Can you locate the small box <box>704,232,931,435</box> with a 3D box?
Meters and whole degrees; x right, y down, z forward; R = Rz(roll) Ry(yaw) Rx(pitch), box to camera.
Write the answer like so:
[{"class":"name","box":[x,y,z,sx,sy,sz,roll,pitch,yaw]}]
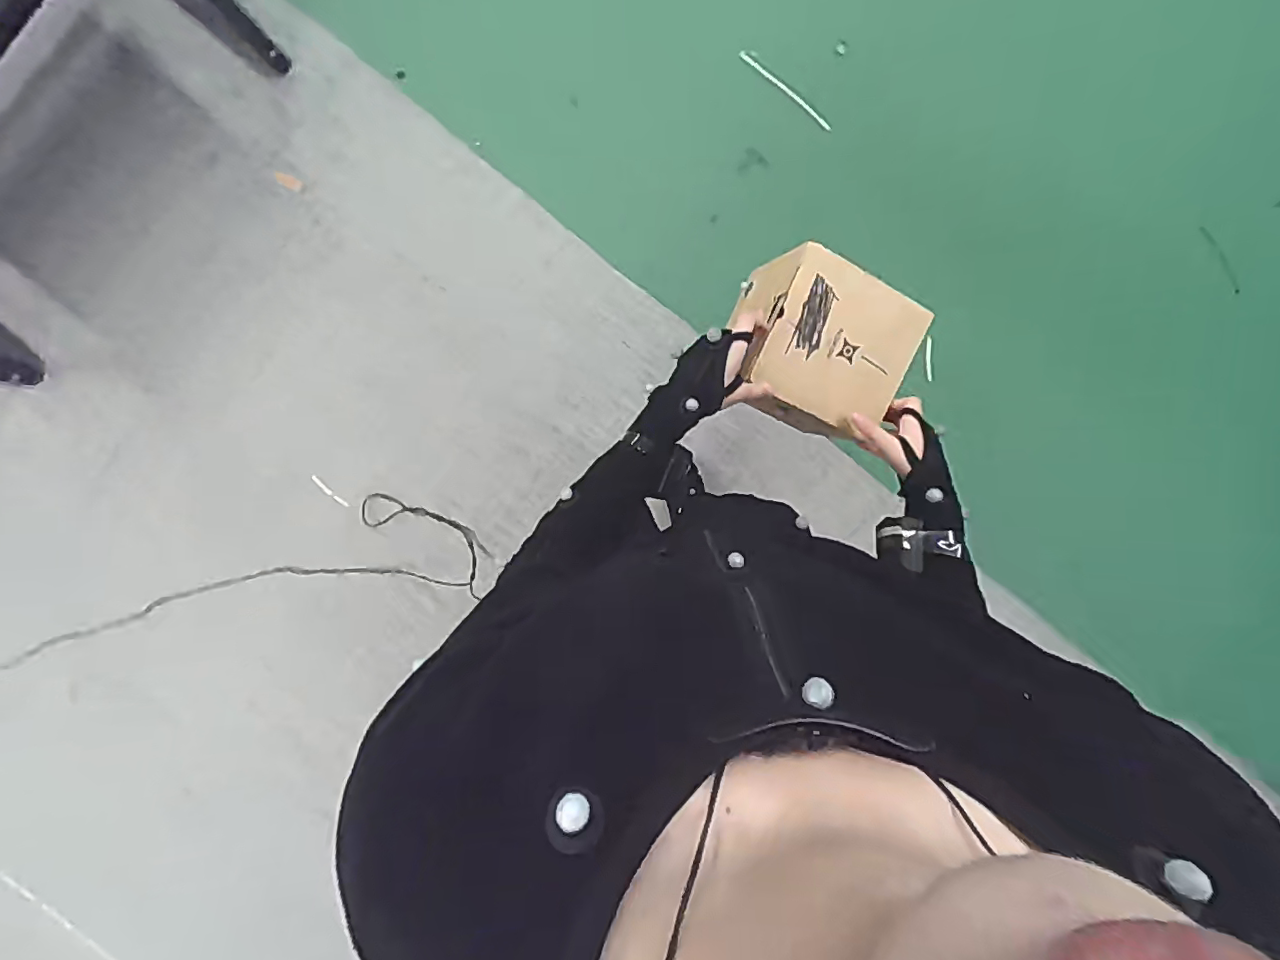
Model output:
[{"class":"small box","box":[0.202,-0.167,0.667,0.179,0.176,0.168,23,95,-14]}]
